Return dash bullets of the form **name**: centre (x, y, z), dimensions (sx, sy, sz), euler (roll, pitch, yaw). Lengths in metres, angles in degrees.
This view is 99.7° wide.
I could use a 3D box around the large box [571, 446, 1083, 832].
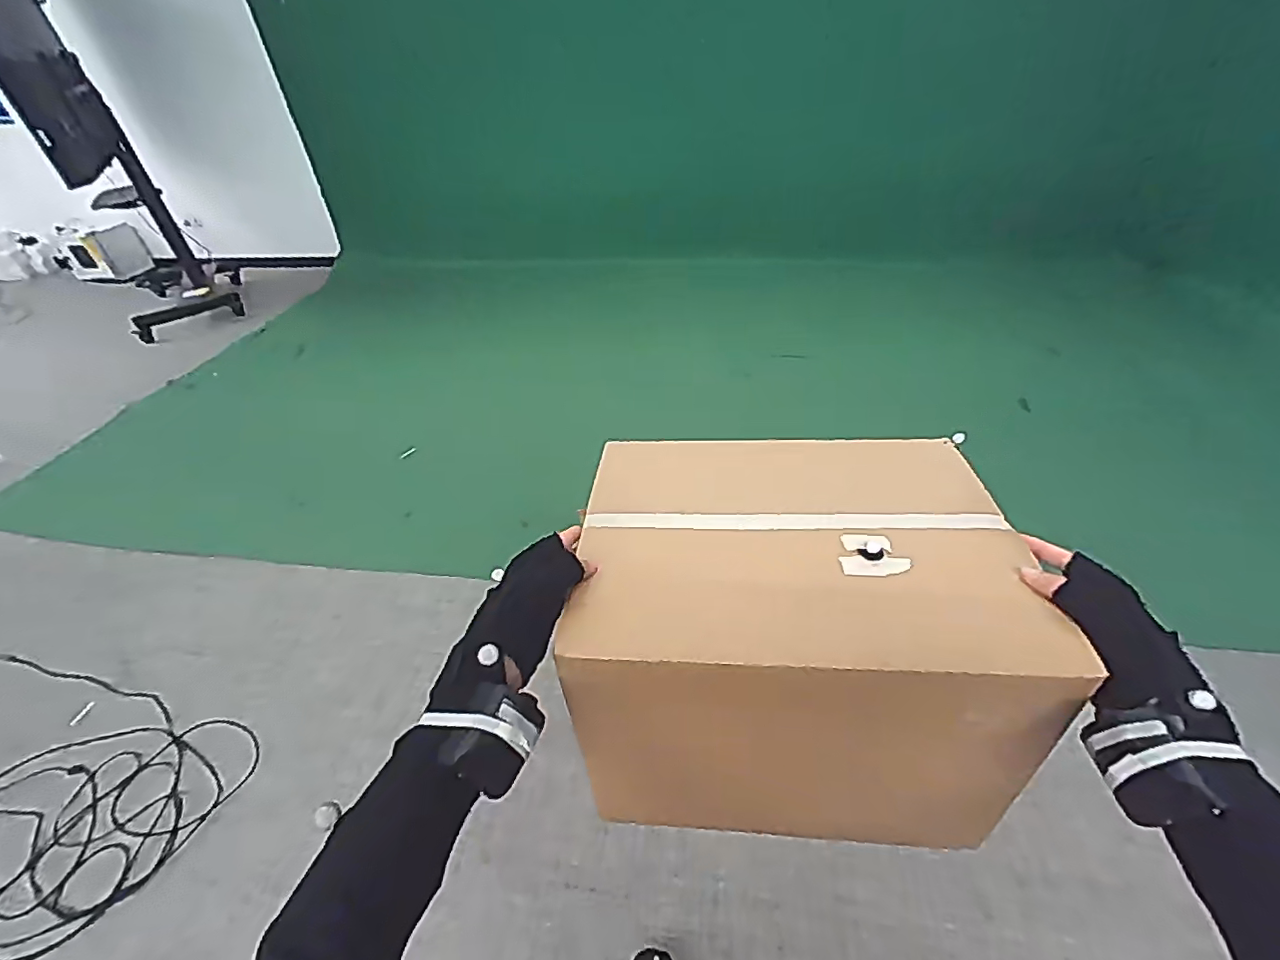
- **large box**: centre (0.156, 0.170, 0.628), dimensions (0.408, 0.320, 0.320), euler (0, 37, 6)
